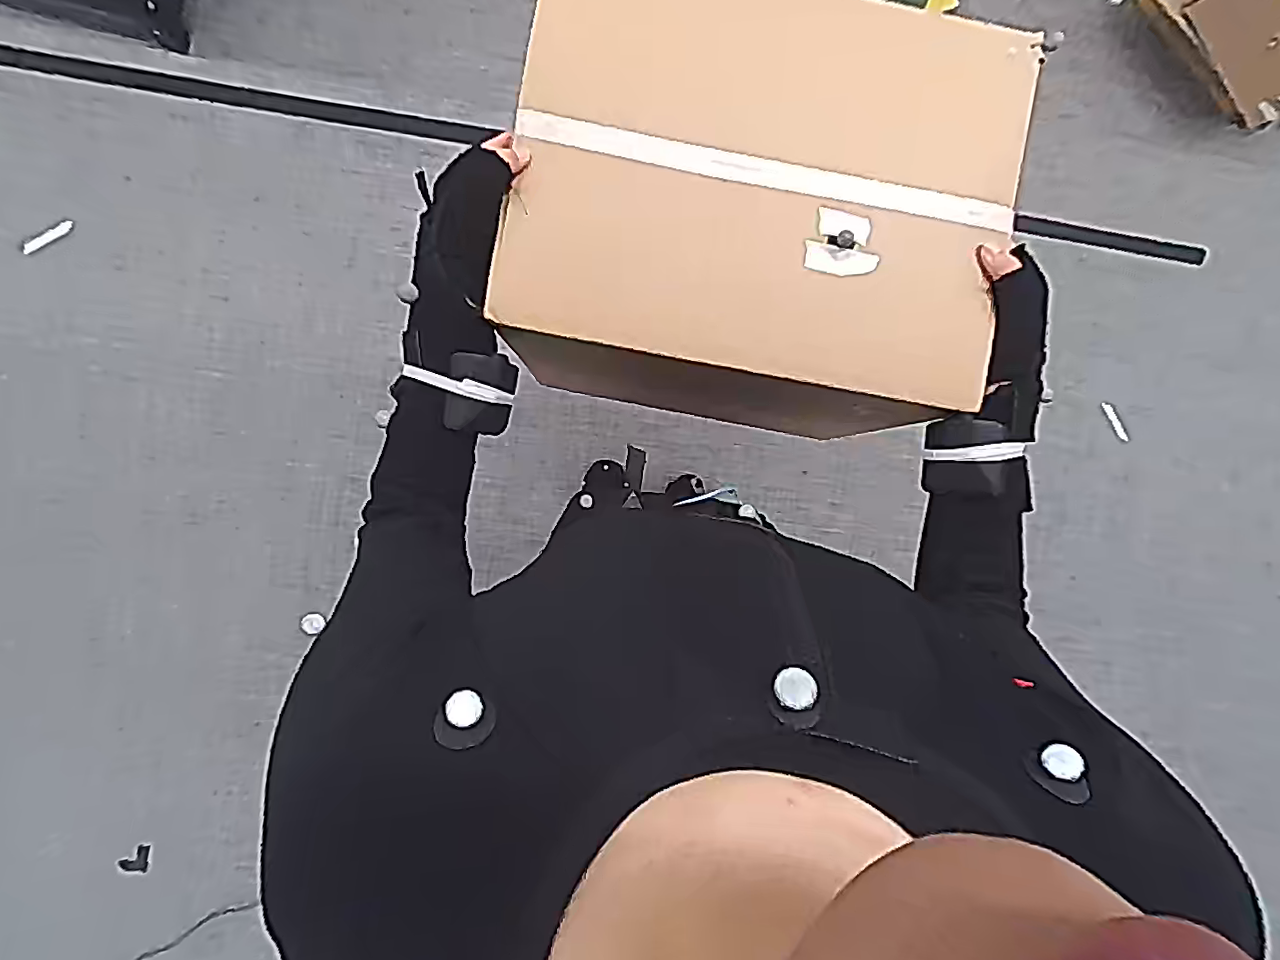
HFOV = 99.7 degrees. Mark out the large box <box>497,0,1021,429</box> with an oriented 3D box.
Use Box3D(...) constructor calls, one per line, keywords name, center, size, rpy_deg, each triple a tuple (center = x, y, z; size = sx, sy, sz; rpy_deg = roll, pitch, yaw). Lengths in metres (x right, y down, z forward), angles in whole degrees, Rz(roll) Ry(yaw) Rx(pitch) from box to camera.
Box3D(name="large box", center=(0.093, -0.250, 0.592), size=(0.408, 0.320, 0.320), rpy_deg=(10, 91, -3))
